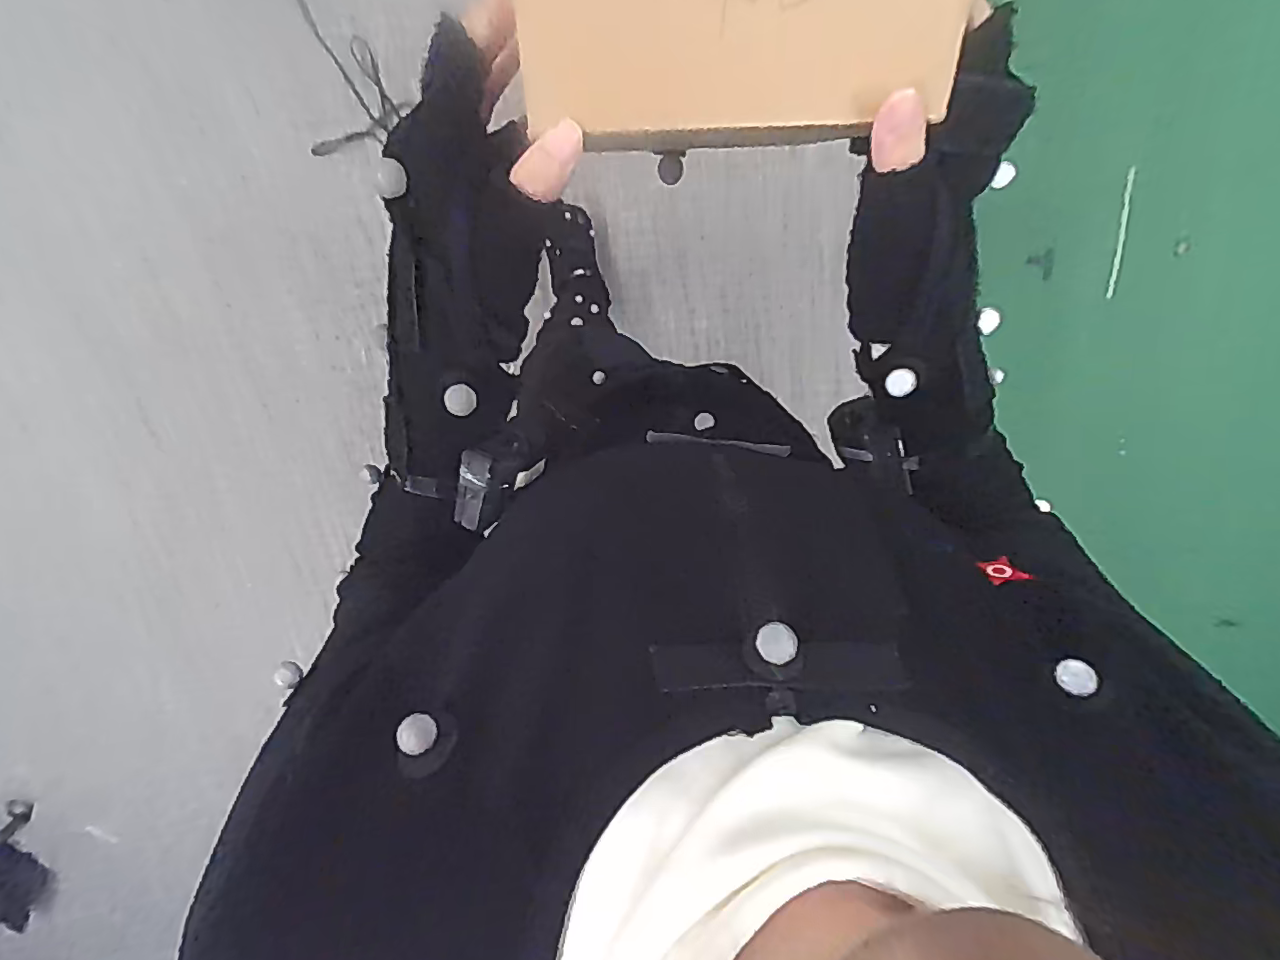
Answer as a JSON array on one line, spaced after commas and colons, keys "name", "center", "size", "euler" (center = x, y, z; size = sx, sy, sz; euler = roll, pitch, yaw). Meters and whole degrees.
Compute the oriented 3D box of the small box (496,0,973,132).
[{"name": "small box", "center": [0.026, -0.254, 0.222], "size": [0.168, 0.176, 0.179], "euler": [-4, 120, -3]}]
